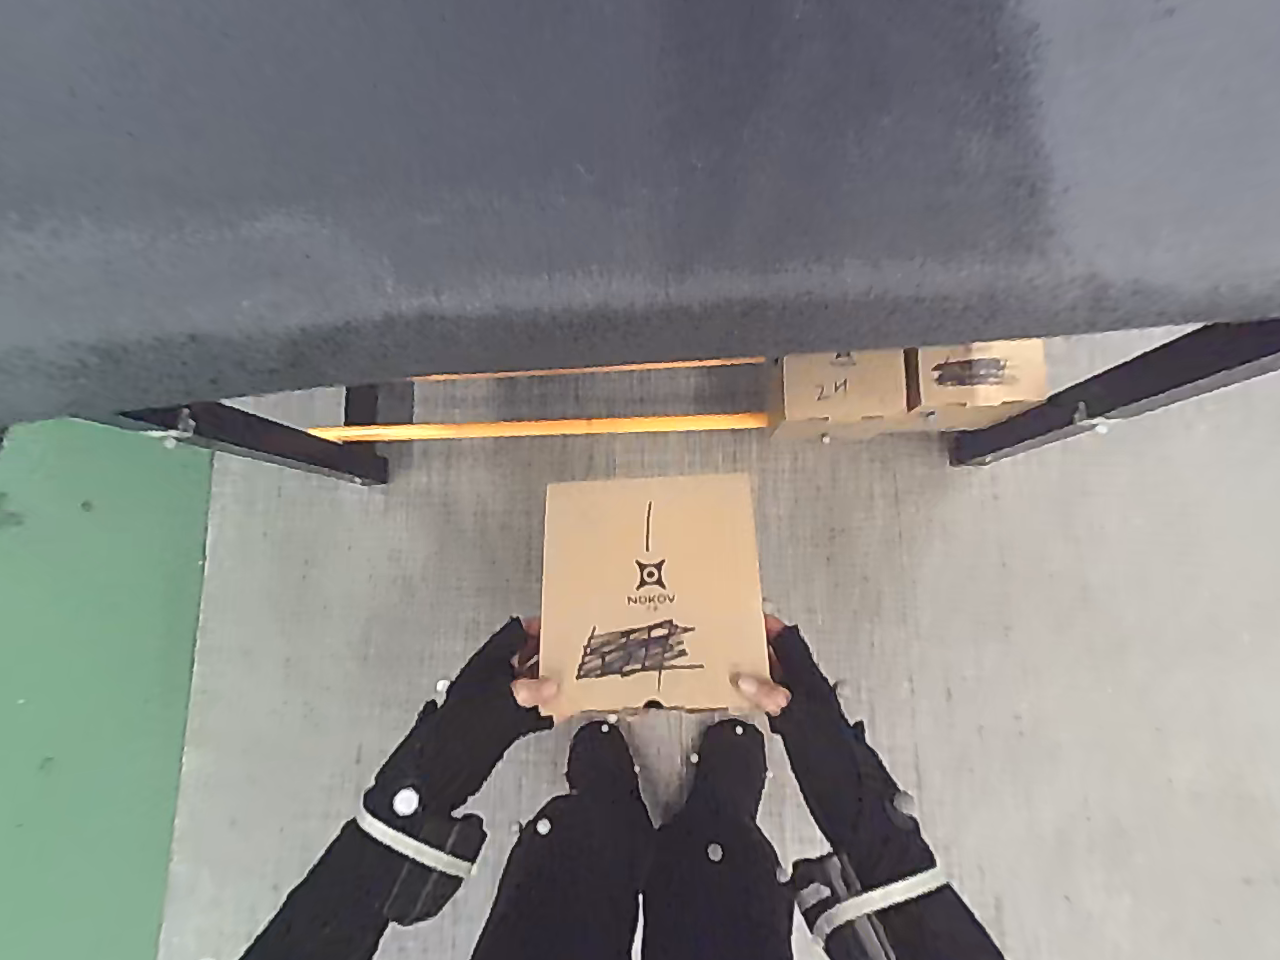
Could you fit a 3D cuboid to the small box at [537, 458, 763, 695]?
[{"bbox_3d":[0.014,0.094,0.482,0.168,0.176,0.179,-3,69,5],"label":"small box"}]
